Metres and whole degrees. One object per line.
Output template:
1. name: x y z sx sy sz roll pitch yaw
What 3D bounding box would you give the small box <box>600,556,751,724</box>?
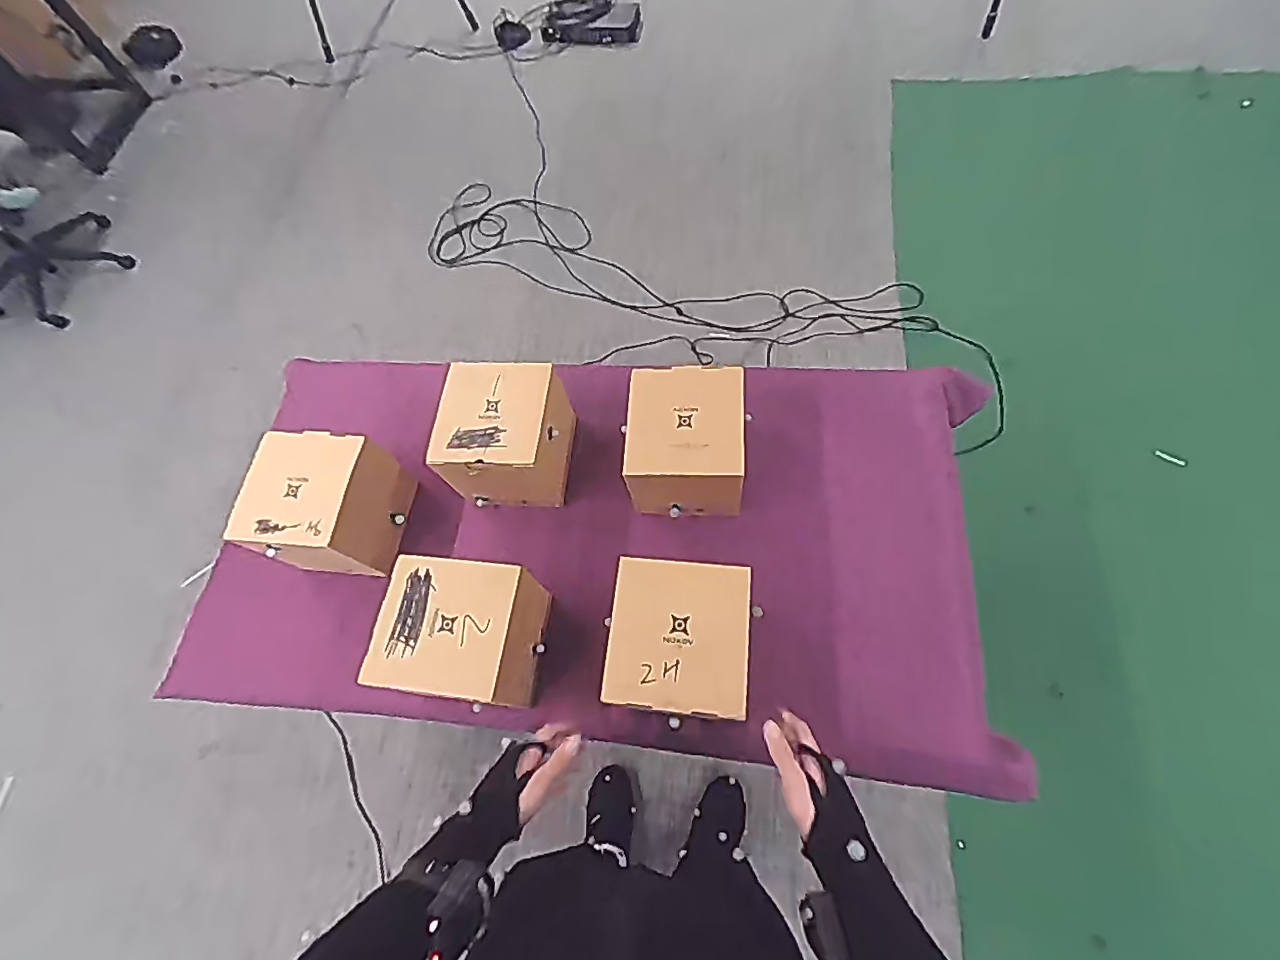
1. small box: 0.052 0.215 0.713 0.168 0.176 0.179 4 65 9

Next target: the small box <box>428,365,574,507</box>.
1. small box: -0.211 -0.065 0.874 0.168 0.176 0.179 2 65 8

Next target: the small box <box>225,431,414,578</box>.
1. small box: -0.486 0.042 0.855 0.168 0.176 0.179 3 66 9

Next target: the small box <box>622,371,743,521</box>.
1. small box: 0.071 -0.049 0.835 0.168 0.176 0.179 1 67 8
